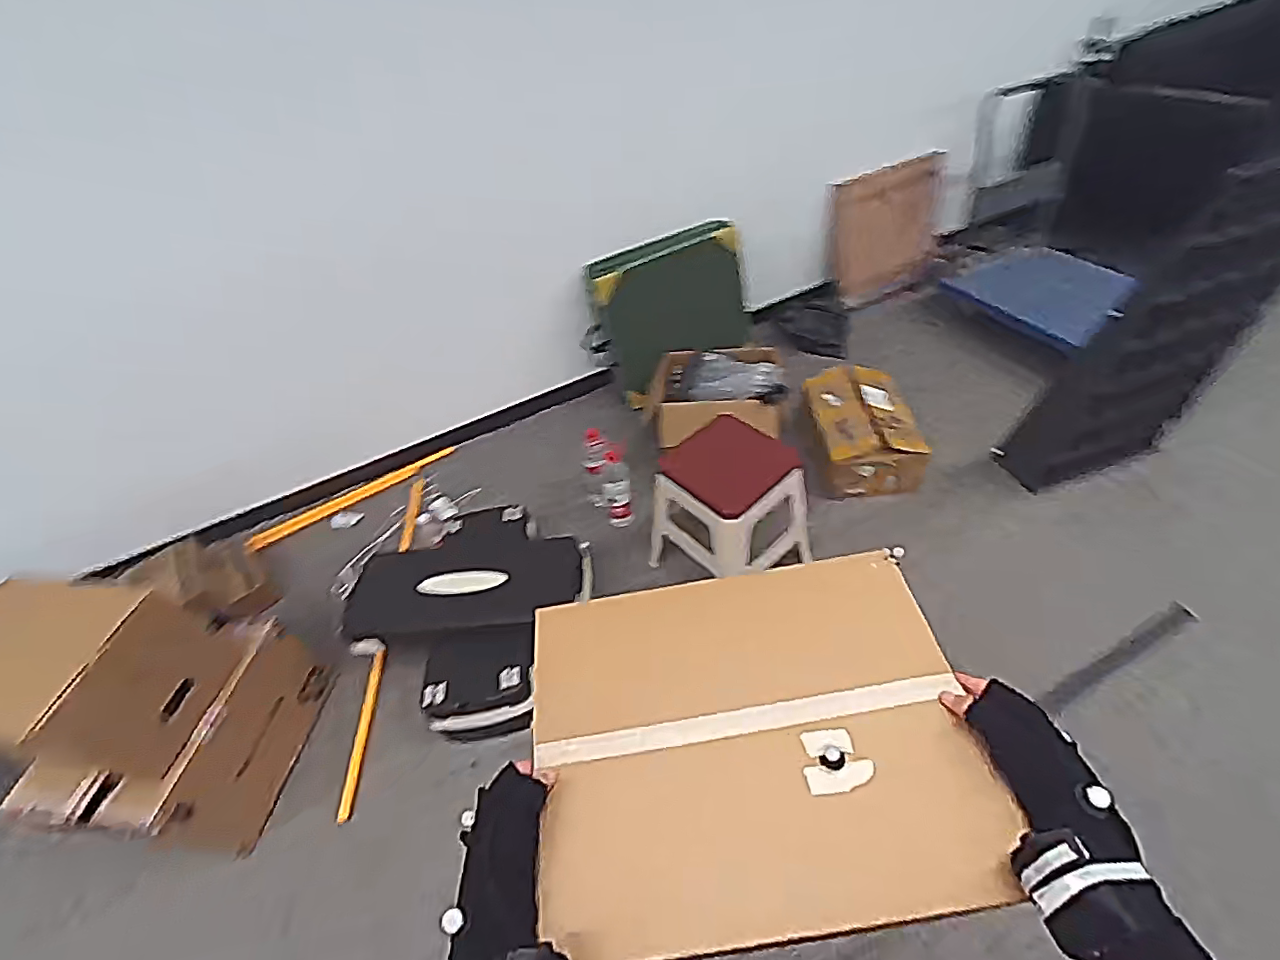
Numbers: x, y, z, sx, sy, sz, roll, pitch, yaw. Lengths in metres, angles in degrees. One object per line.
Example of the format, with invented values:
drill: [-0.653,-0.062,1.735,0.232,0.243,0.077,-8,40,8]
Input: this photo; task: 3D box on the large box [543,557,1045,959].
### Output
large box: [0.119,0.331,0.625,0.408,0.320,0.320,-9,48,1]
